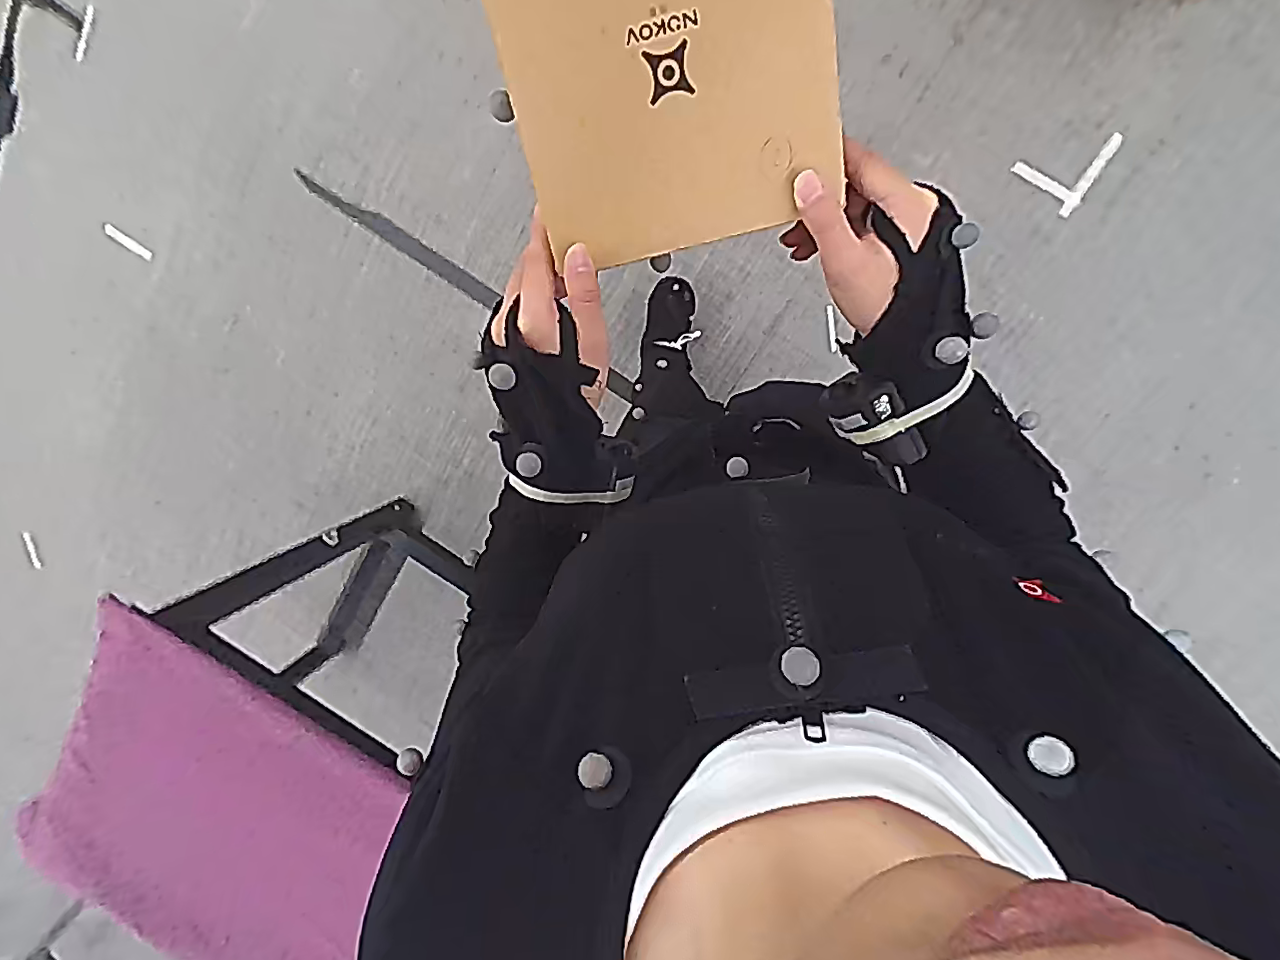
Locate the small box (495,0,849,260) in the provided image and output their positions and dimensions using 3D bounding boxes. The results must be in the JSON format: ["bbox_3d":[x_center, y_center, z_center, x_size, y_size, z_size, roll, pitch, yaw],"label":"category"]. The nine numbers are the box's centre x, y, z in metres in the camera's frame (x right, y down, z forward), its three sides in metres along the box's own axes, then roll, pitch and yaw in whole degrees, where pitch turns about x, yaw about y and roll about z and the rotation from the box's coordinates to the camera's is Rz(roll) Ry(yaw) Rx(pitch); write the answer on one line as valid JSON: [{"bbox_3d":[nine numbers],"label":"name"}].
[{"bbox_3d":[0.019,-0.251,0.337,0.168,0.176,0.179,-11,114,7],"label":"small box"}]
